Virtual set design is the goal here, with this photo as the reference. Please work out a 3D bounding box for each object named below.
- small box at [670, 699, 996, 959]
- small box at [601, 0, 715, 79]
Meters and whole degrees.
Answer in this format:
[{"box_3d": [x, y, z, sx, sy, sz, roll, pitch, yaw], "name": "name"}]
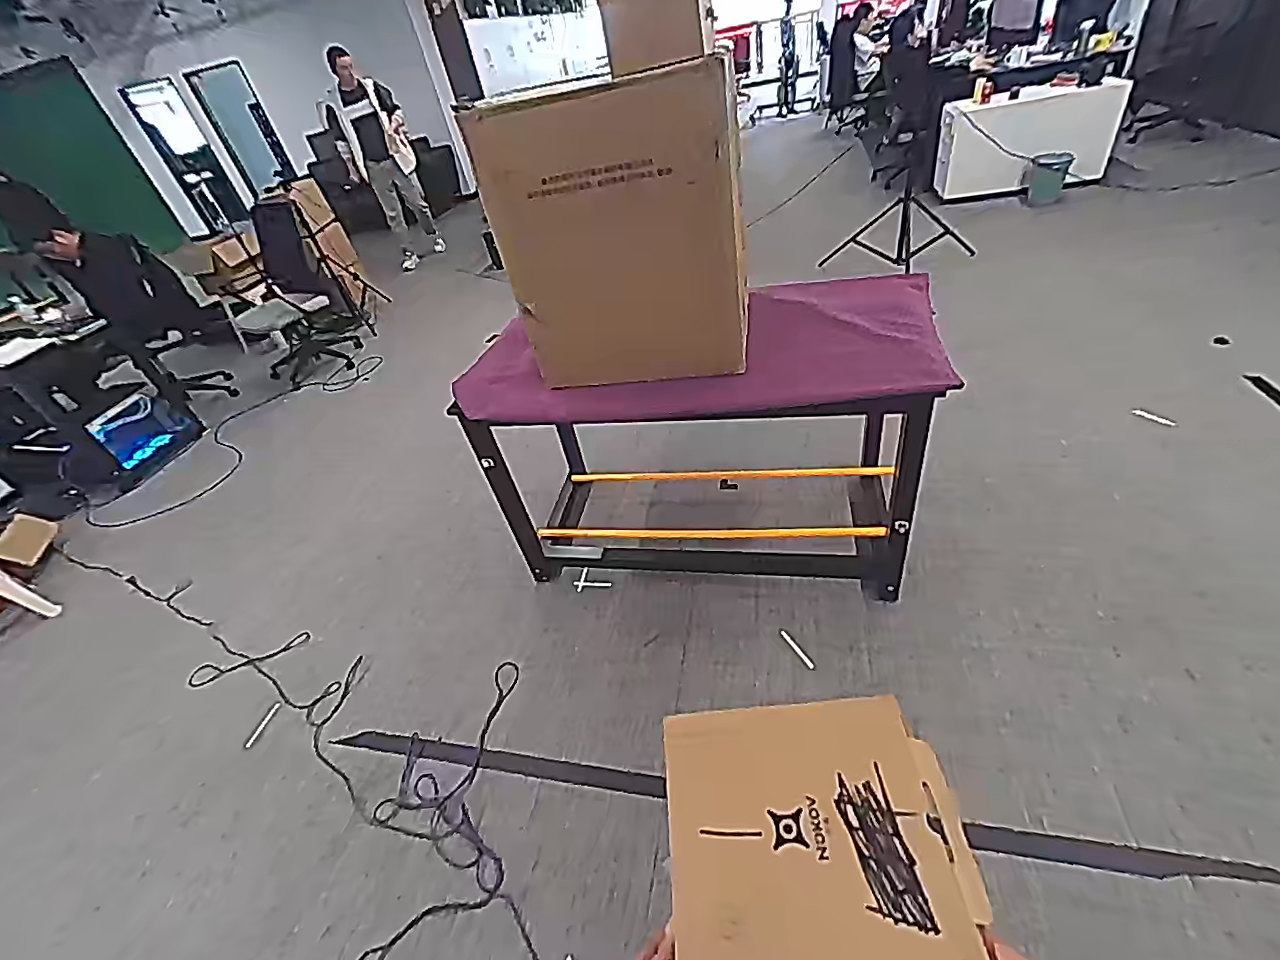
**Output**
[{"box_3d": [0.120, 0.283, 0.404, 0.179, 0.176, 0.168, -7, 43, 6], "name": "small box"}, {"box_3d": [0.032, -0.843, 0.969, 0.179, 0.176, 0.168, -2, 41, 16], "name": "small box"}]
